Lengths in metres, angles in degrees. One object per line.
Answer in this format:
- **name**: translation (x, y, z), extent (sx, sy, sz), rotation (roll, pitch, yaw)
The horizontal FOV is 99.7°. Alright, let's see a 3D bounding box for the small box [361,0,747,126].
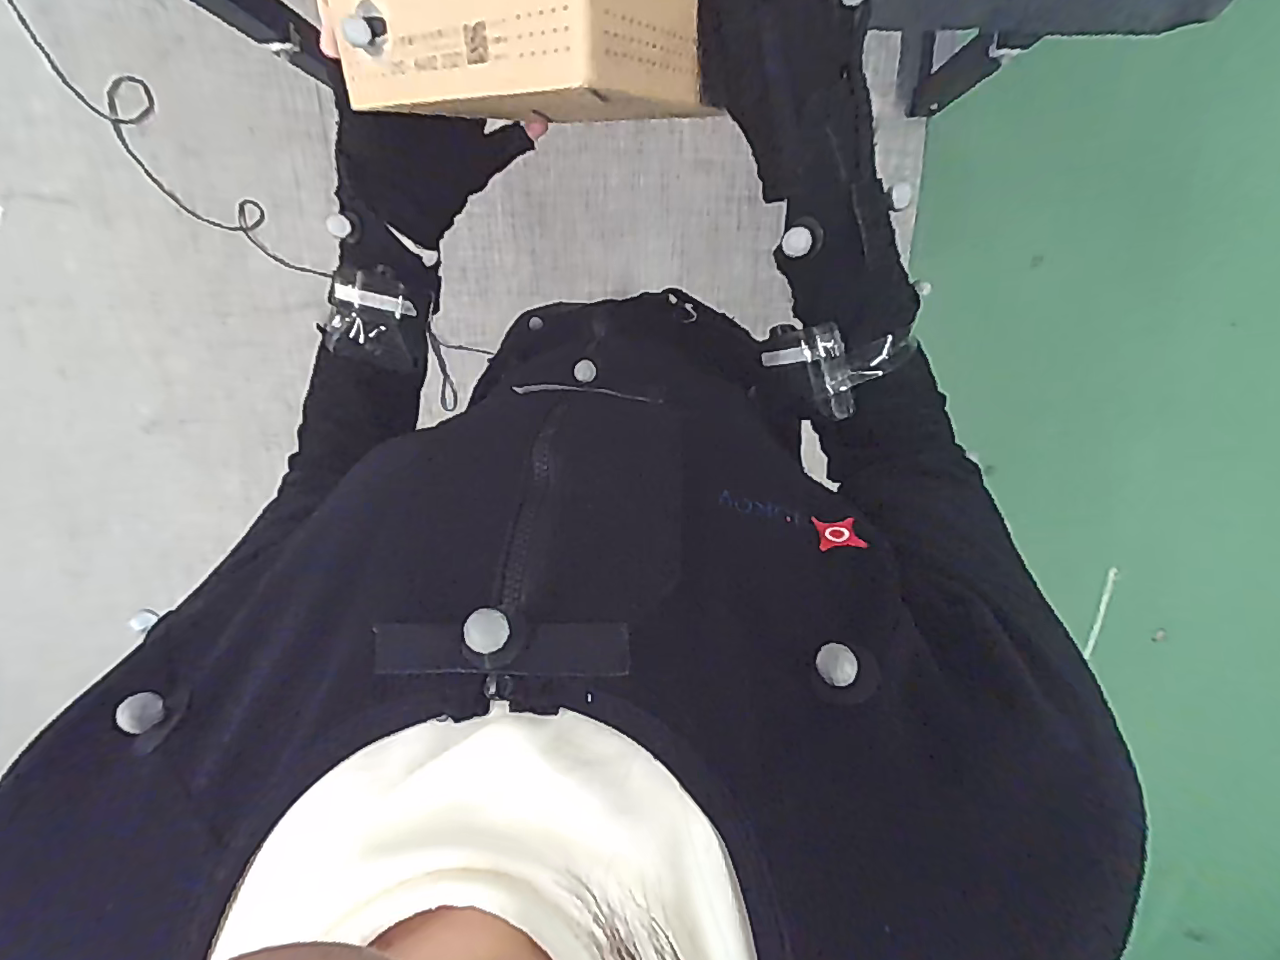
- **small box**: translation (-0.042, -0.302, 0.292), extent (0.168, 0.179, 0.176), rotation (17, 124, 28)
